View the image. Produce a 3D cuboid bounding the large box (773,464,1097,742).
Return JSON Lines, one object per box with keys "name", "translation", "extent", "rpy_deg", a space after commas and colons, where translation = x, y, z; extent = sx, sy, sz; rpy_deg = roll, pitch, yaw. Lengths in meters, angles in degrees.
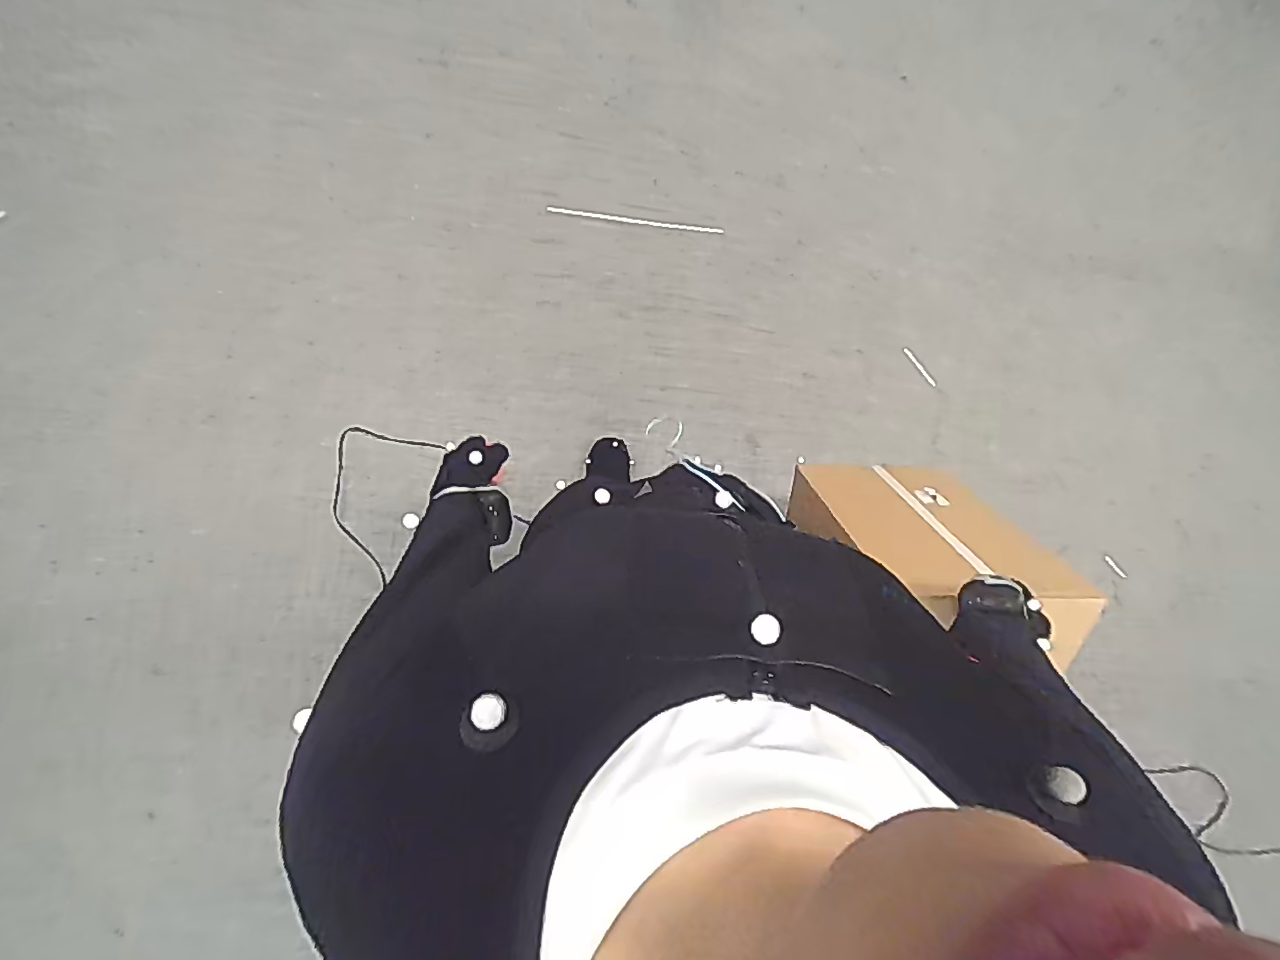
{"name": "large box", "translation": [0.468, 0.198, 0.981], "extent": [0.320, 0.408, 0.320], "rpy_deg": [2, 117, -6]}
